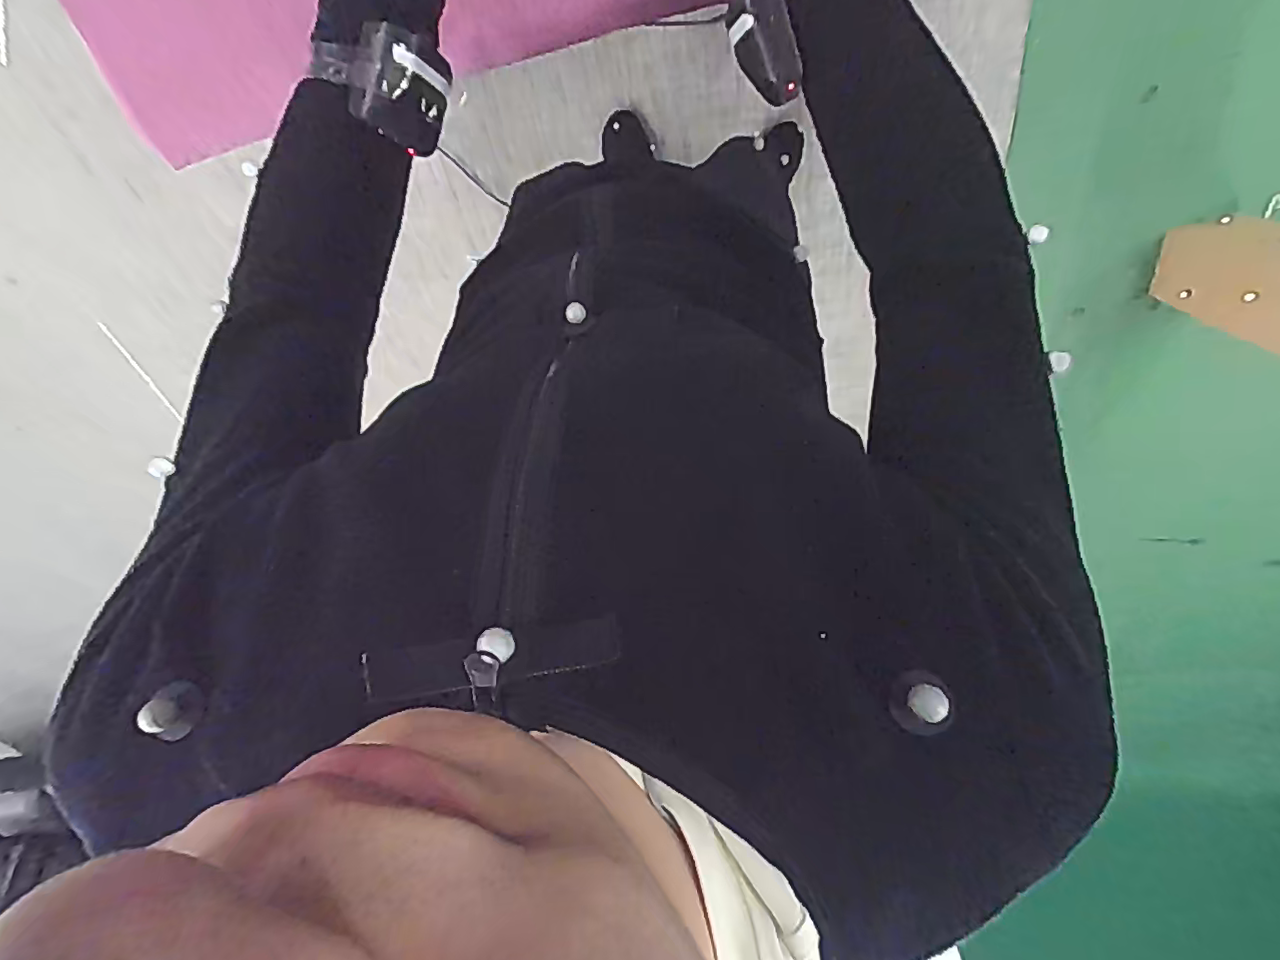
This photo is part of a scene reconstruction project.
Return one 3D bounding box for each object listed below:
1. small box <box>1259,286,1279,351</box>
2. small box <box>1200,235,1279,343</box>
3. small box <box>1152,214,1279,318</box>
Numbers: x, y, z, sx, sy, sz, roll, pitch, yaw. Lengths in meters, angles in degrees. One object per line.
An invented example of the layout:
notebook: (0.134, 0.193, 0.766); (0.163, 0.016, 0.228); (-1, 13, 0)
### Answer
small box: (1.409, -0.336, 1.066); (0.168, 0.176, 0.179); (-11, 126, 11)
small box: (1.418, -0.429, 1.200); (0.168, 0.176, 0.179); (-9, 125, 10)
small box: (1.424, -0.528, 1.329); (0.168, 0.176, 0.179); (-11, 126, 10)
